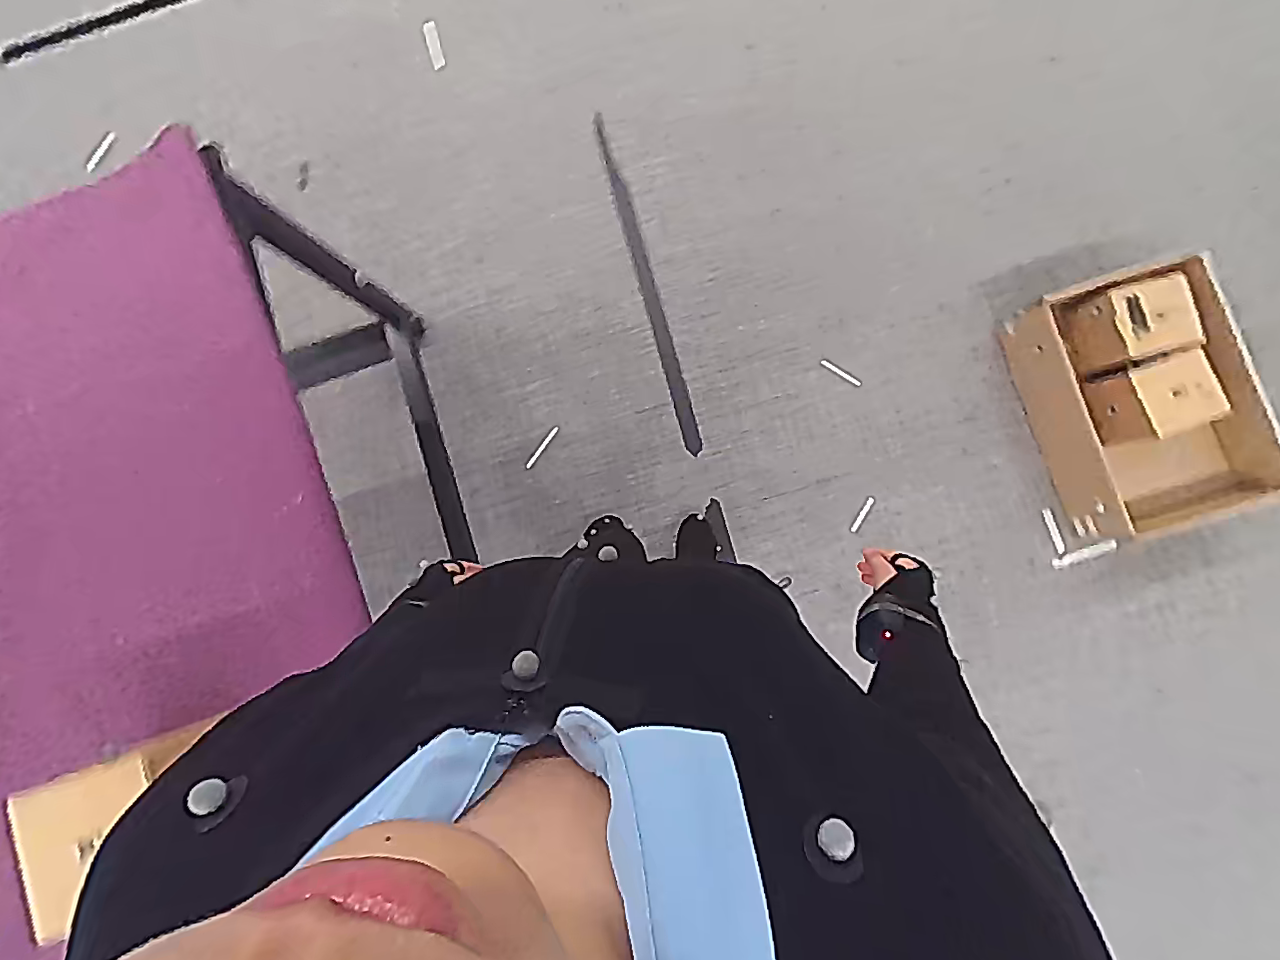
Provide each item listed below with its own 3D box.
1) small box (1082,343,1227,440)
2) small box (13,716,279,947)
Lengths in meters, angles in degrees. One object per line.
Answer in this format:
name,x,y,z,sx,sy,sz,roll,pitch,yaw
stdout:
small box,1.244,-0.208,1.330,0.179,0.176,0.168,-22,86,2
small box,-0.623,0.436,0.702,0.179,0.176,0.168,-21,84,1
